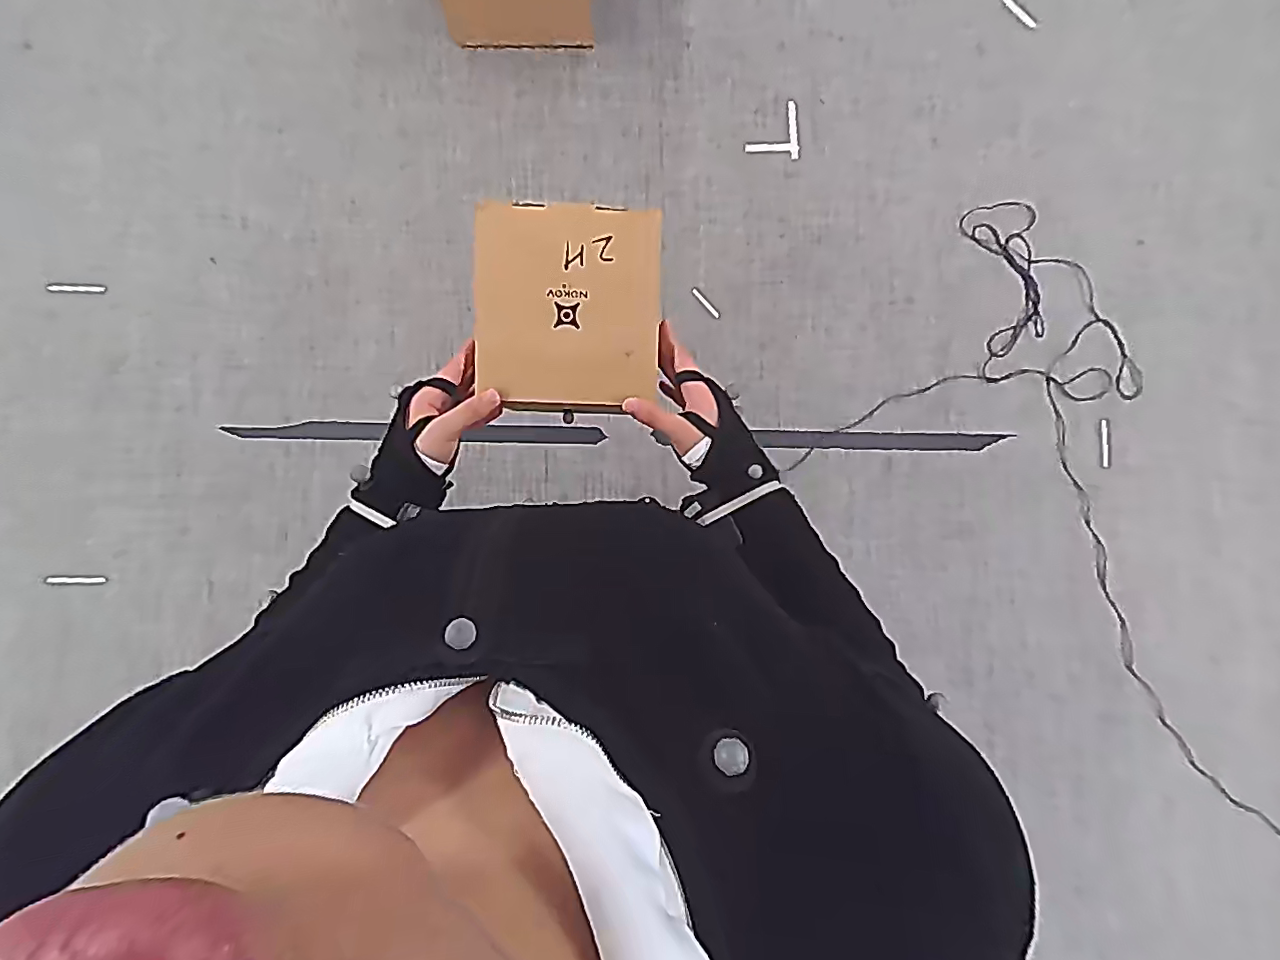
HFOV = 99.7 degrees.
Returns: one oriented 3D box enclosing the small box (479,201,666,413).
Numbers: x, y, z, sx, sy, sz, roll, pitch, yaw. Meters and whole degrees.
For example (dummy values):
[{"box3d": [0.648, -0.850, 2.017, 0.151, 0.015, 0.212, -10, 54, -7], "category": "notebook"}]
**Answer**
[{"box3d": [-0.065, -0.164, 0.570, 0.168, 0.176, 0.179, 2, 93, -4], "category": "small box"}]
